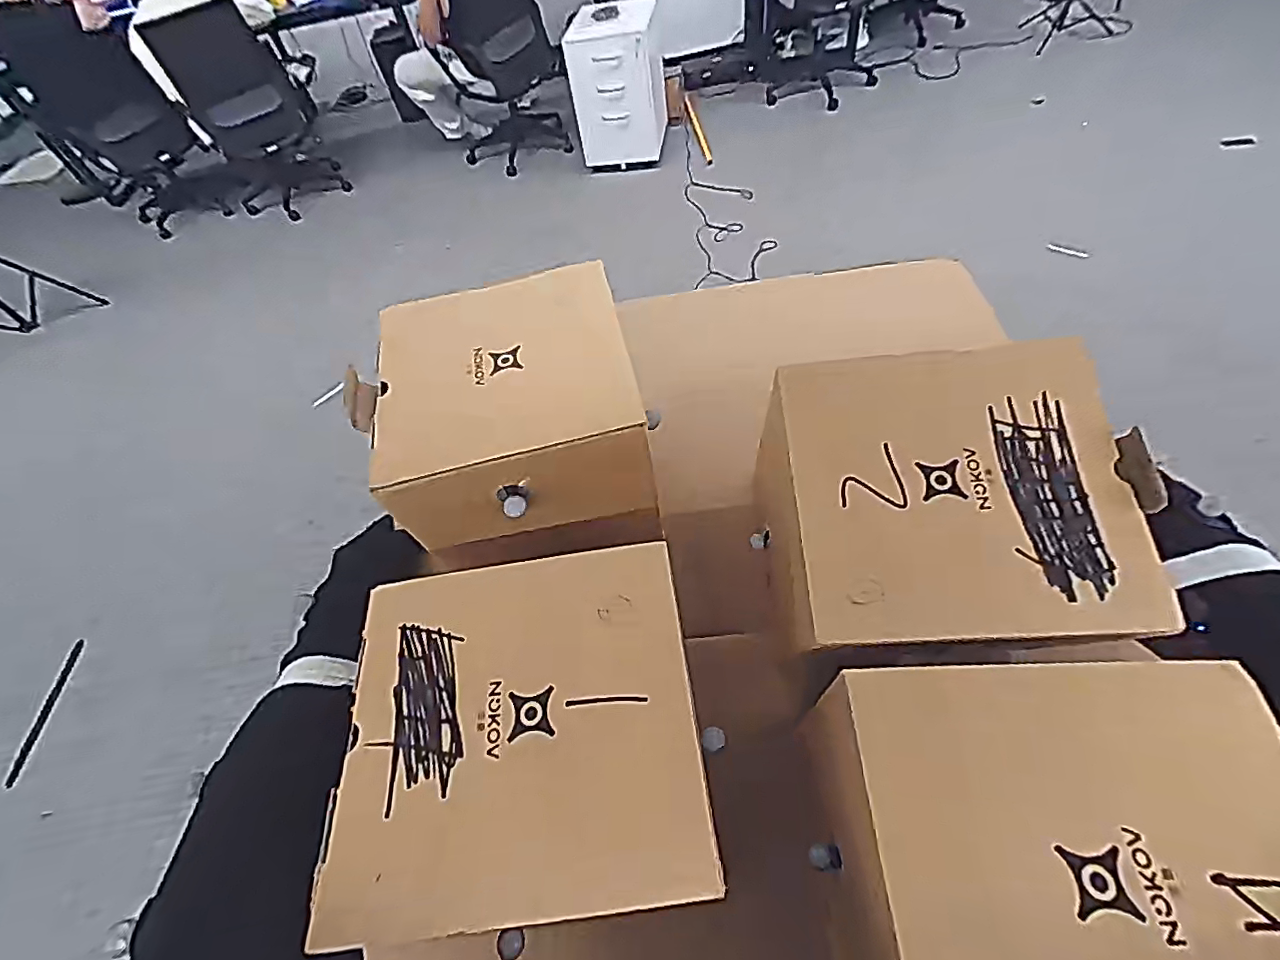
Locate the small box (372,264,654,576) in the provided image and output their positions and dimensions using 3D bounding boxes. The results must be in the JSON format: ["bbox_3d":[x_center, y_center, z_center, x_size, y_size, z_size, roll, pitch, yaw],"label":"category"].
[{"bbox_3d":[-0.089,-0.040,0.446,0.179,0.176,0.168,-14,58,0],"label":"small box"}]
